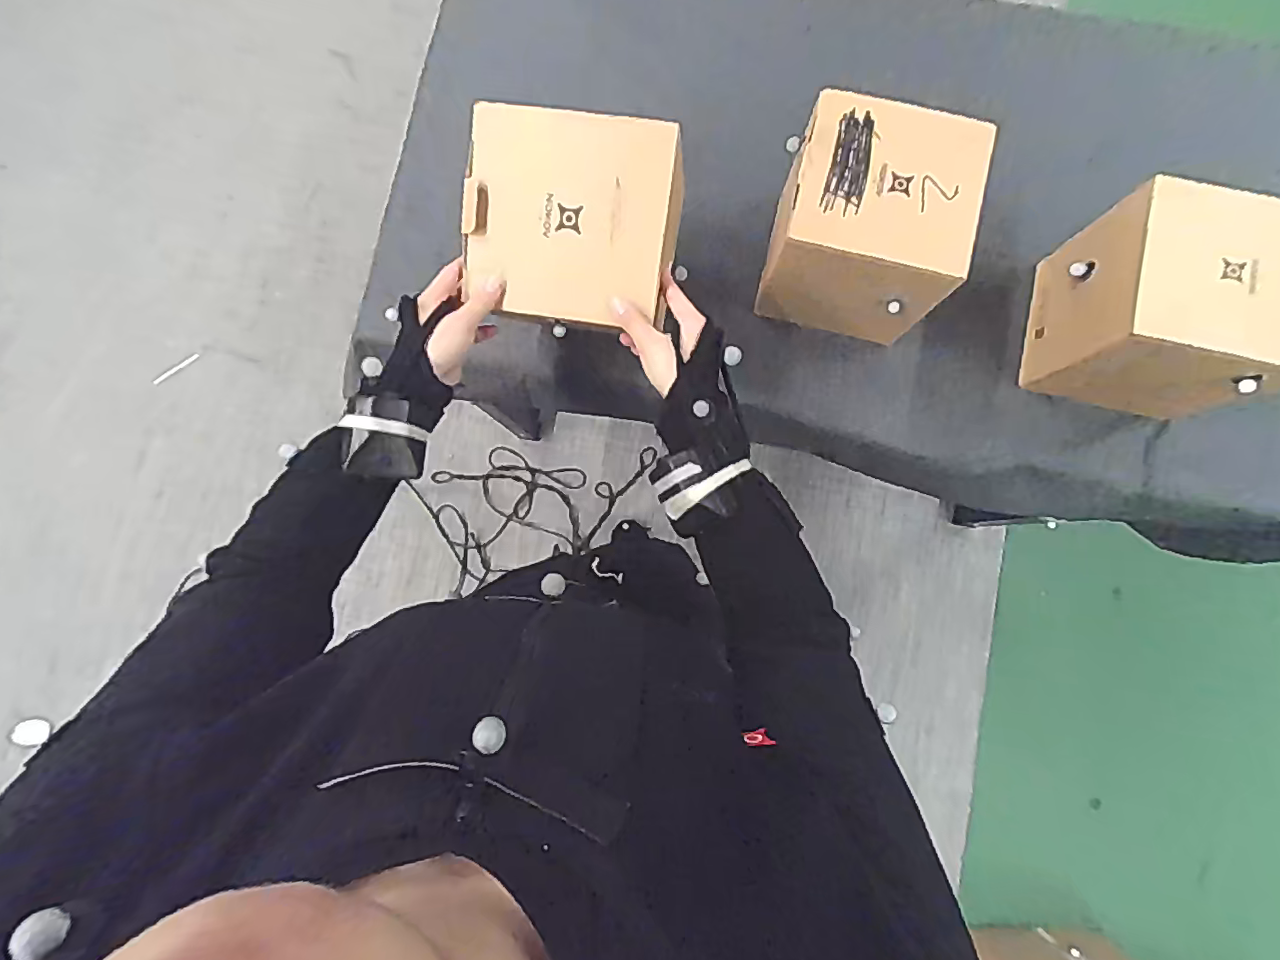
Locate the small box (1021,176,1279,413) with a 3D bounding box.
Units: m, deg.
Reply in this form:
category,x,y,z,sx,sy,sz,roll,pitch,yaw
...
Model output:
category,x,y,z,sx,sy,sz,roll,pitch,yaw
small box,0.553,-0.181,0.578,0.179,0.176,0.168,13,83,3
